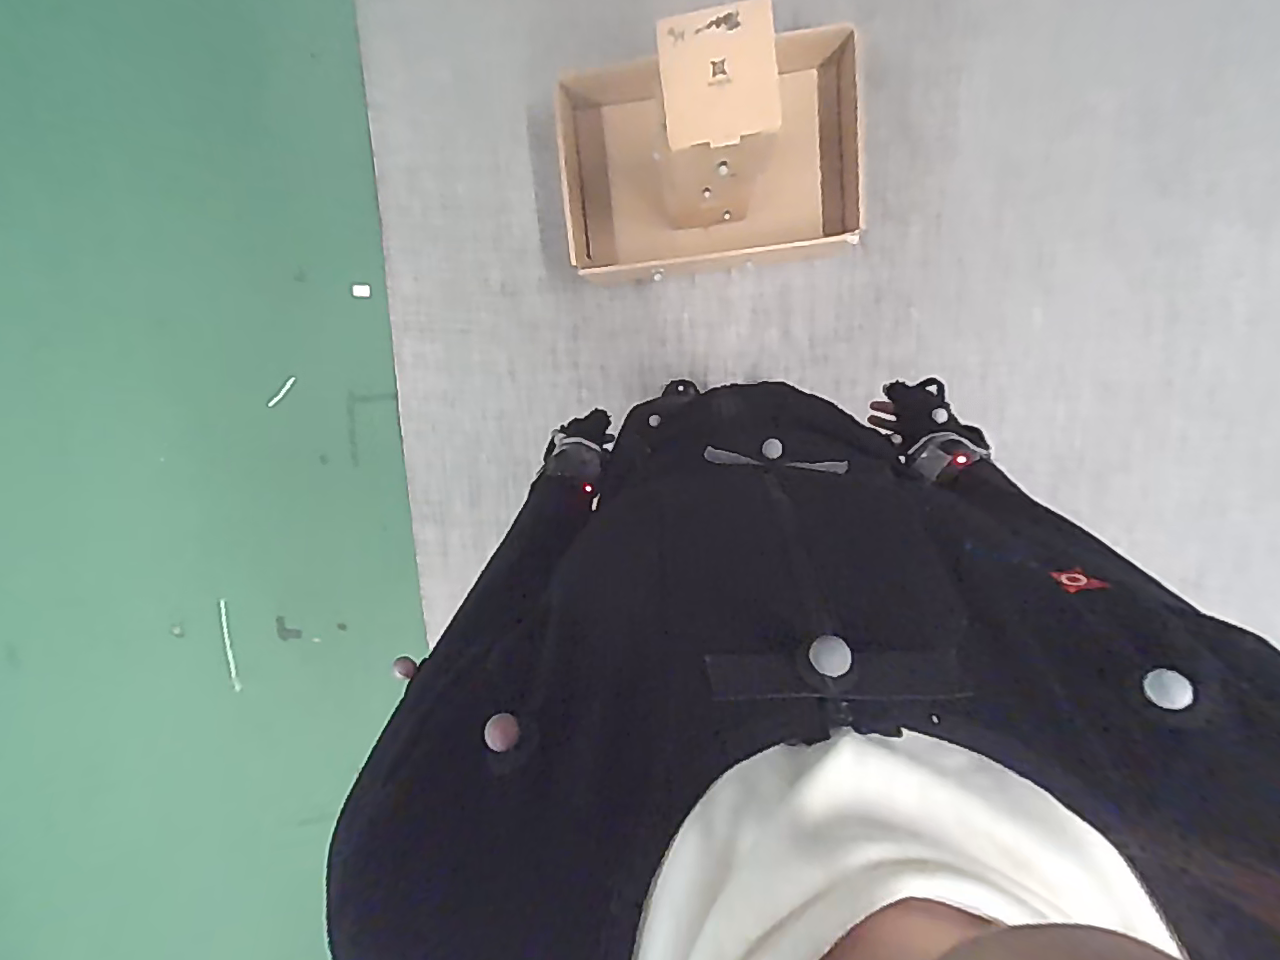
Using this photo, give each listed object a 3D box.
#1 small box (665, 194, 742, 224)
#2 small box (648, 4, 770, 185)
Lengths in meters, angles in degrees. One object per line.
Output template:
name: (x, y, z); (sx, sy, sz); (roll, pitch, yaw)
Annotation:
small box: (0.132, -0.673, 1.179); (0.168, 0.176, 0.179); (-5, 99, 6)
small box: (0.113, -0.604, 0.878); (0.168, 0.176, 0.179); (-8, 99, 8)
